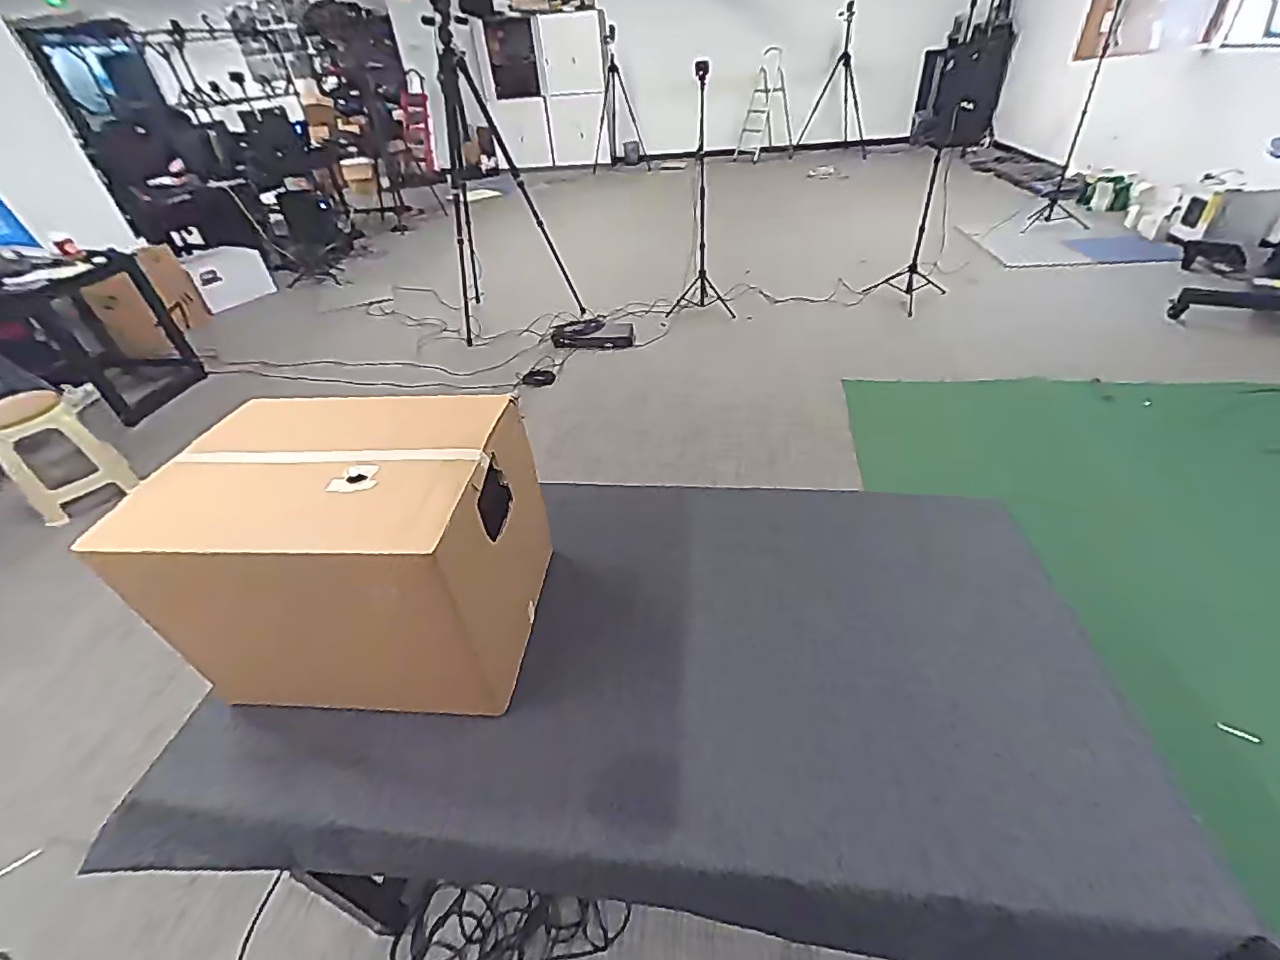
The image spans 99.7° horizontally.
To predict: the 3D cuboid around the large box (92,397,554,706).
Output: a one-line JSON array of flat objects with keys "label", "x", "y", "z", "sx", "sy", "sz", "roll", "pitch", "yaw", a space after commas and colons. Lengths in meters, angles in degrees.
[{"label": "large box", "x": -0.364, "y": 0.094, "z": 0.758, "sx": 0.408, "sy": 0.320, "sz": 0.320, "roll": 0, "pitch": 39, "yaw": 5}]
